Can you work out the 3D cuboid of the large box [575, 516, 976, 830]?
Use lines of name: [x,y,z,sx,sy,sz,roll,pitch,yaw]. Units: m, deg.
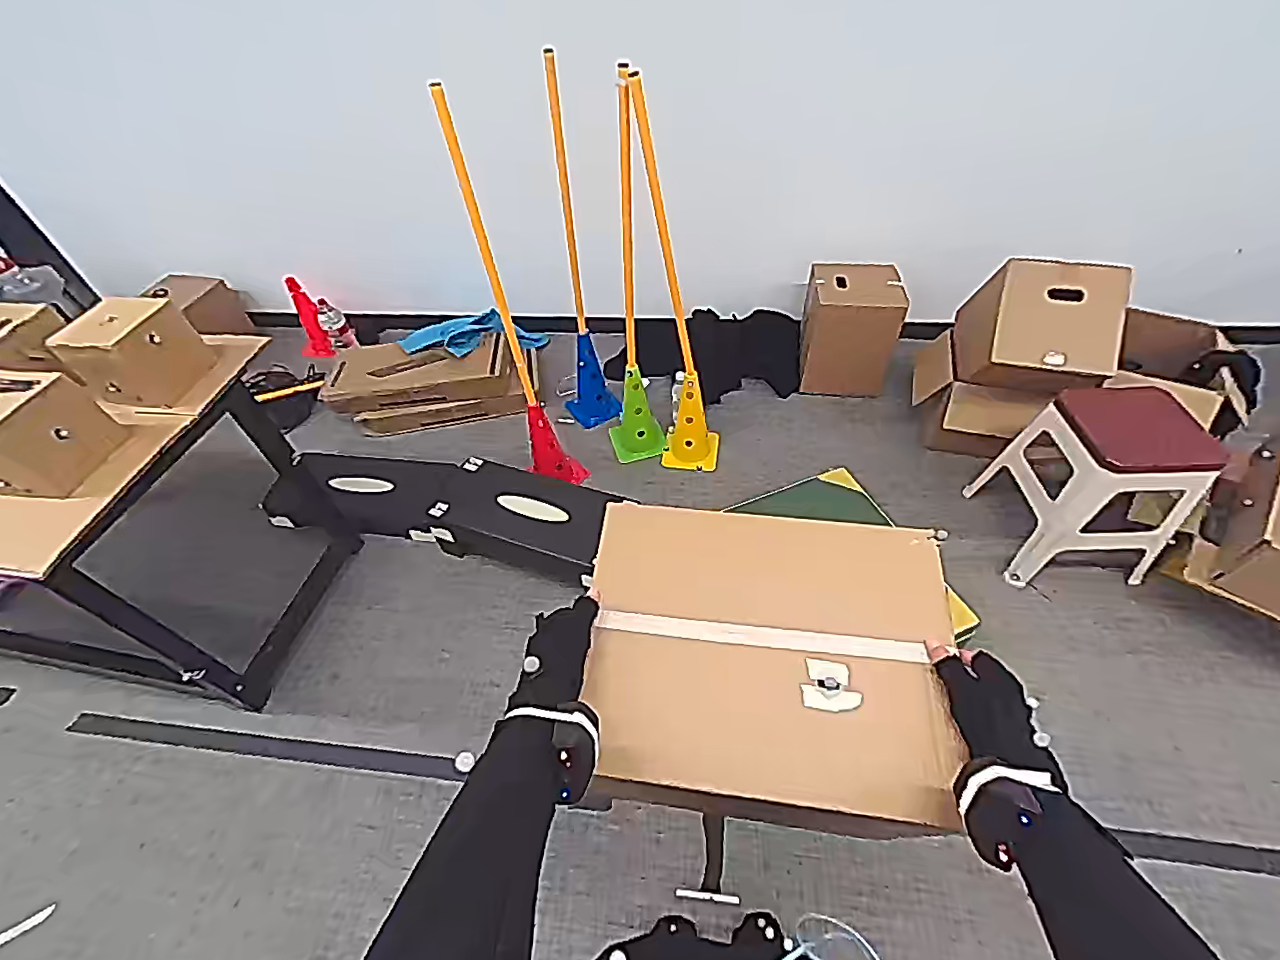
large box: [0.150,0.270,0.741,0.408,0.320,0.320,5,57,6]
